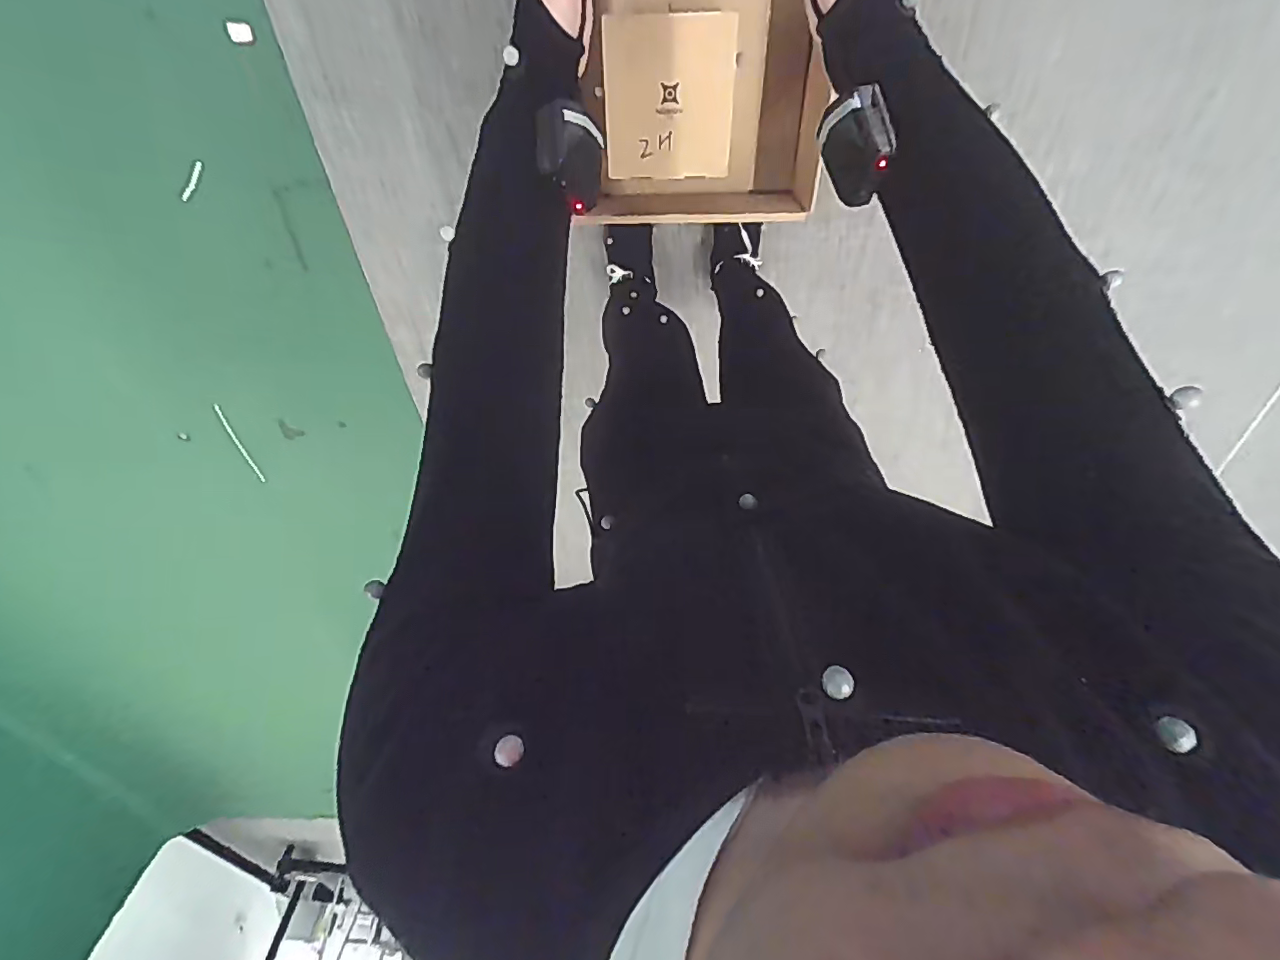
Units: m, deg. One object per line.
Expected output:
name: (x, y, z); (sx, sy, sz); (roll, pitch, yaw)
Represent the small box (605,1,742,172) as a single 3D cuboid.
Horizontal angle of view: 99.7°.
small box: (0.042, -0.536, 0.746); (0.168, 0.176, 0.179); (1, 128, 3)
